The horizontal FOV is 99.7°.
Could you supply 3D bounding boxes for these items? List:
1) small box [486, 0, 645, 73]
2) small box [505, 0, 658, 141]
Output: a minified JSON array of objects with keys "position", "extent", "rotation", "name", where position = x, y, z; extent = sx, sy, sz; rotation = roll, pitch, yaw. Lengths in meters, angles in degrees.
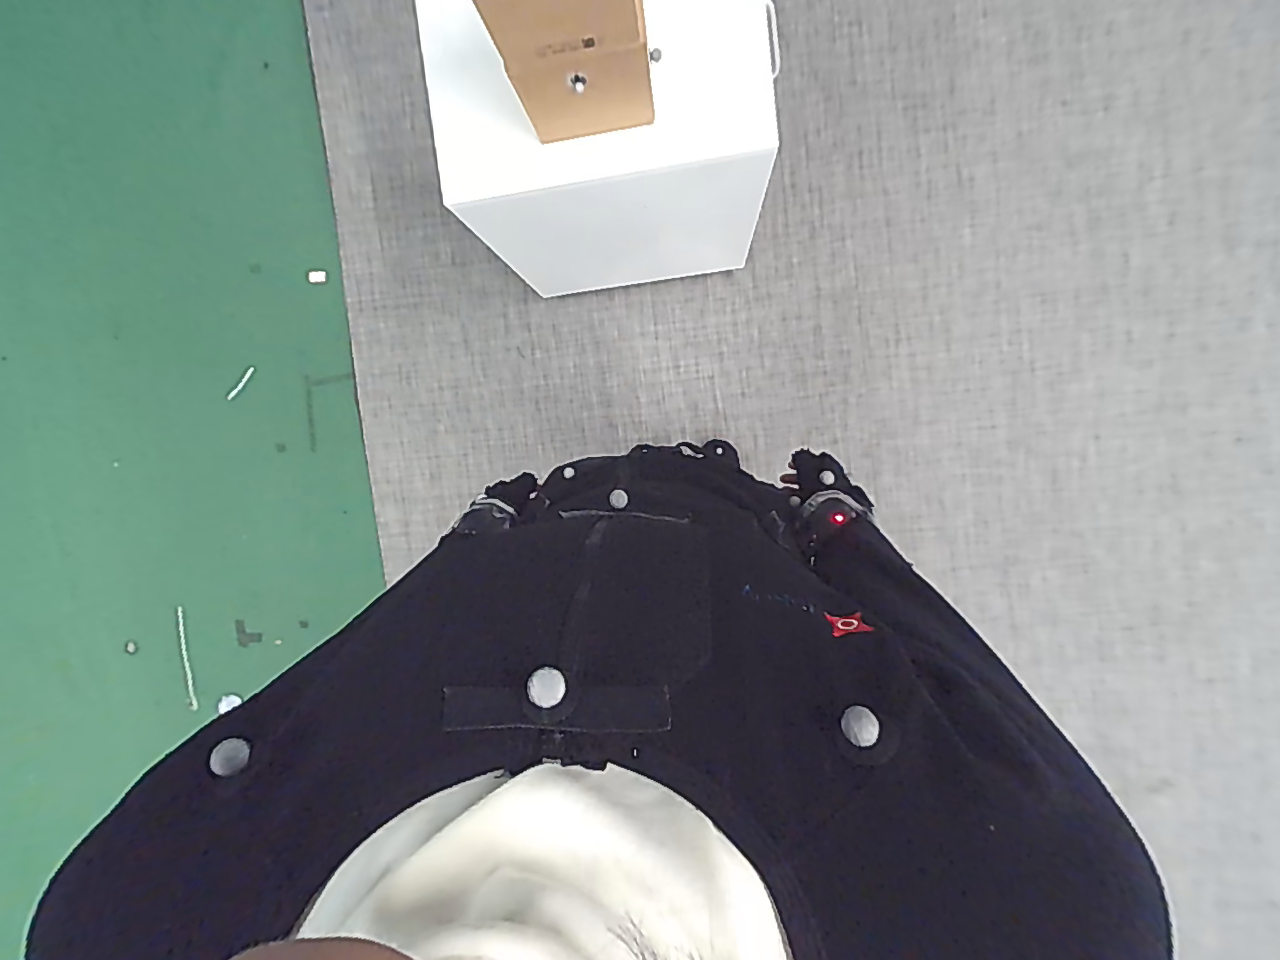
[{"position":[-0.090,-0.578,0.561],"extent":[0.168,0.176,0.179],"rotation":[-8,94,5],"name":"small box"},{"position":[-0.076,-0.586,0.721],"extent":[0.179,0.176,0.168],"rotation":[-7,94,5],"name":"small box"}]
